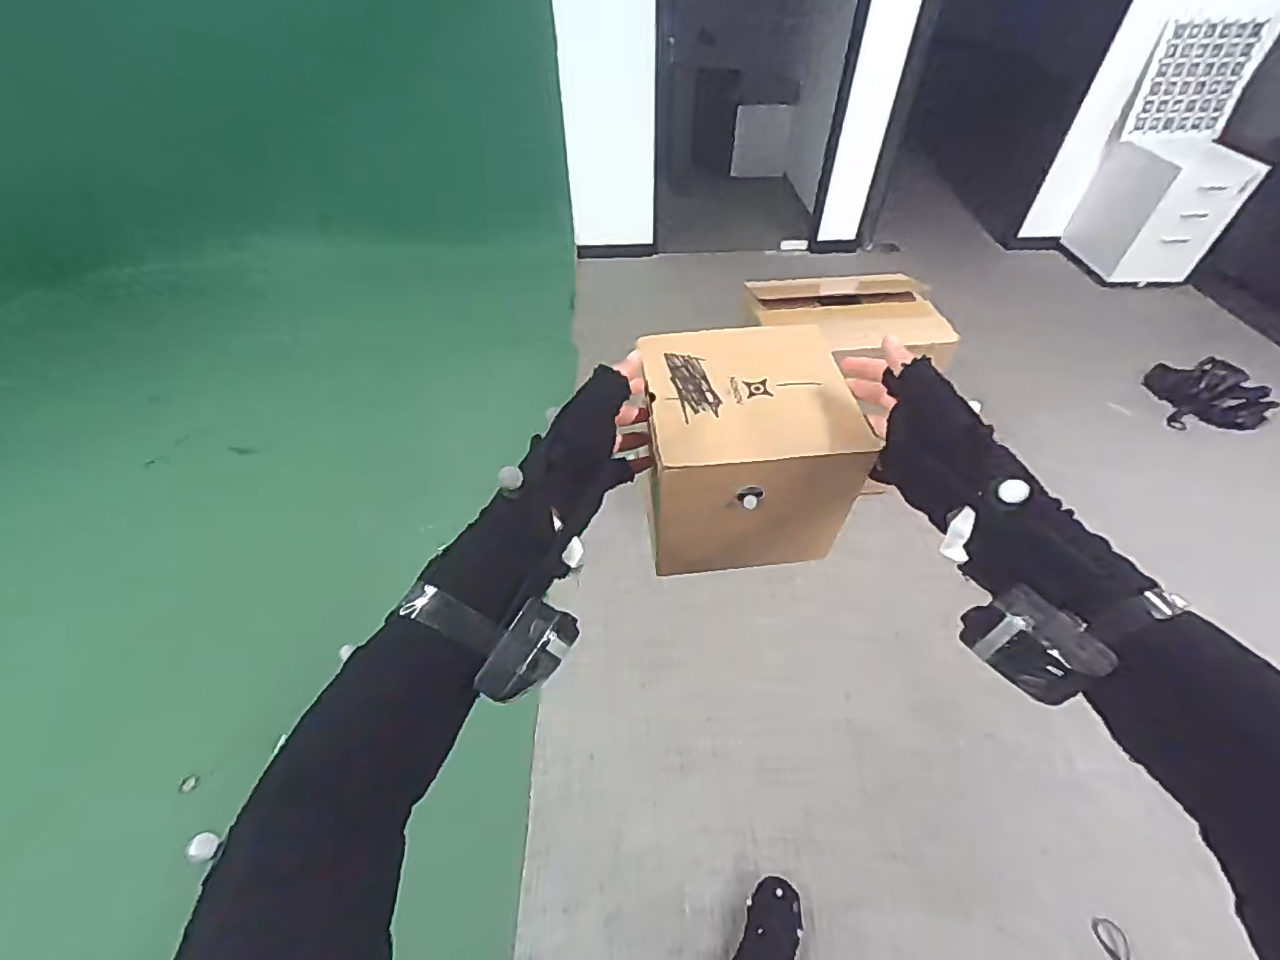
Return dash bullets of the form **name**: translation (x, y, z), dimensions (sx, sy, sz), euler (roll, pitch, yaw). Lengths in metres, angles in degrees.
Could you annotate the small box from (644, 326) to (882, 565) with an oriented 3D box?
- **small box**: translation (0.099, -0.029, 0.532), dimensions (0.179, 0.176, 0.168), euler (-5, 51, -4)
